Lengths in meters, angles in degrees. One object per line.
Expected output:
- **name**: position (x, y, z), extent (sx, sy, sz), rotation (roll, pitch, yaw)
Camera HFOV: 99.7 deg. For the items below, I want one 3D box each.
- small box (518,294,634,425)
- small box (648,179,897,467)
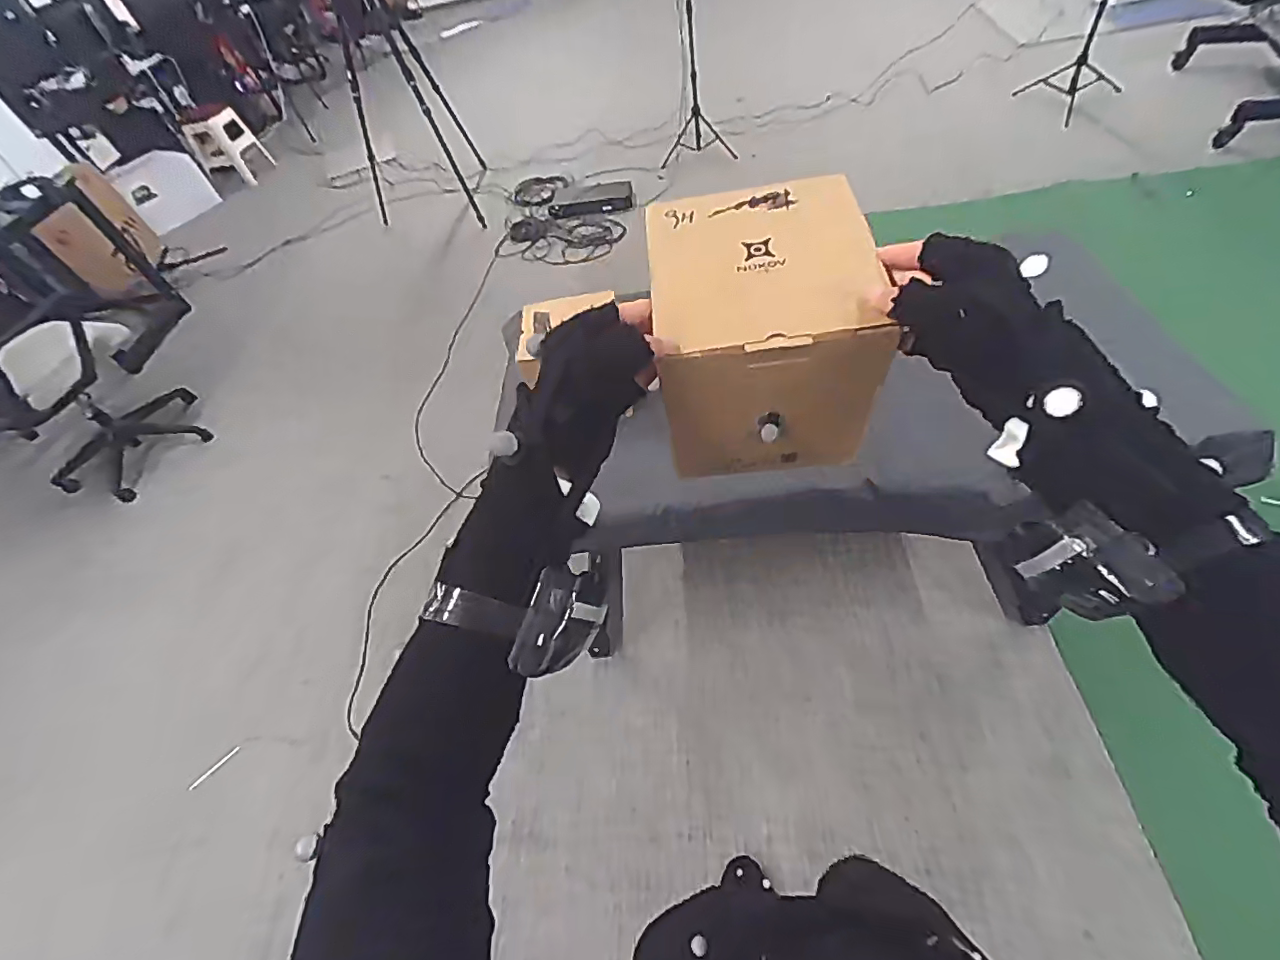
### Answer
- **small box**: position (-0.112, -0.219, 1.011), extent (0.179, 0.176, 0.168), rotation (-7, 52, 5)
- **small box**: position (0.100, -0.122, 0.474), extent (0.168, 0.176, 0.179), rotation (-5, 60, 6)
